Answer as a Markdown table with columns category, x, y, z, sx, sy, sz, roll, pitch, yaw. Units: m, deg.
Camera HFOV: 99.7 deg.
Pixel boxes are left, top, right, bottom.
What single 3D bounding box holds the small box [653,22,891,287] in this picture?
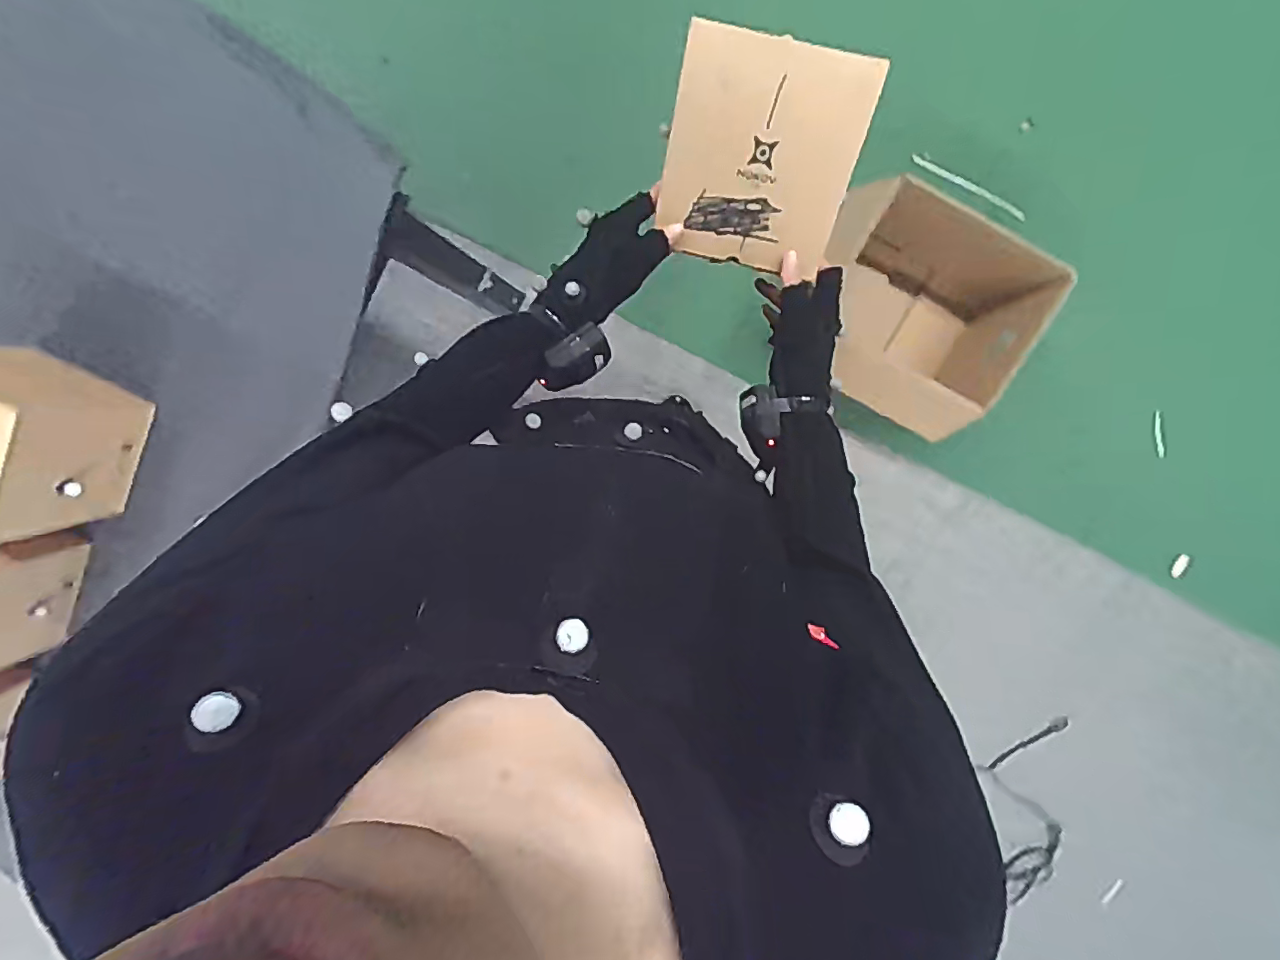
| category | x | y | z | sx | sy | sz | roll | pitch | yaw |
| --- | --- | --- | --- | --- | --- | --- | --- | --- | --- |
| small box | 0.117 | -0.319 | 0.545 | 0.168 | 0.176 | 0.179 | 13 | 123 | -2 |

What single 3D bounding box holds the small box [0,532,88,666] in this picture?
| category | x | y | z | sx | sy | sz | roll | pitch | yaw |
| --- | --- | --- | --- | --- | --- | --- | --- | --- | --- |
| small box | -0.878 | 0.144 | 0.681 | 0.179 | 0.176 | 0.168 | 24 | 99 | -3 |

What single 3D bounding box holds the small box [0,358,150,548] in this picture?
| category | x | y | z | sx | sy | sz | roll | pitch | yaw |
| --- | --- | --- | --- | --- | --- | --- | --- | --- | --- |
| small box | -0.758 | -0.043 | 0.650 | 0.179 | 0.176 | 0.168 | 25 | 99 | -3 |
